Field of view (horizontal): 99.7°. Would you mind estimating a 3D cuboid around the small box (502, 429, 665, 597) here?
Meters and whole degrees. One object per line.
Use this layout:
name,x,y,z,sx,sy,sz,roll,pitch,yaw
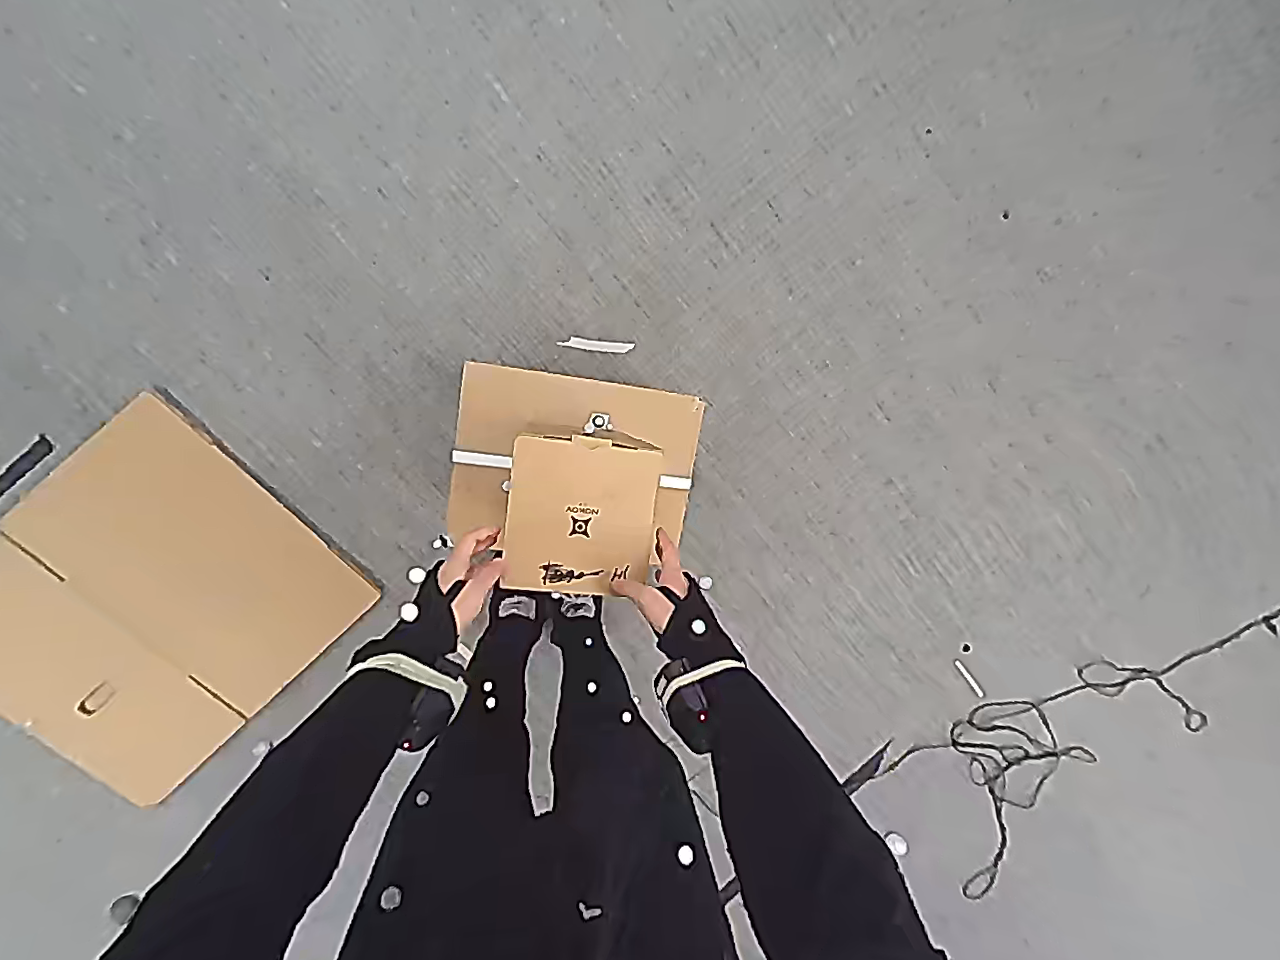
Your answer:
small box,-0.075,0.032,0.679,0.168,0.176,0.179,6,96,-10
